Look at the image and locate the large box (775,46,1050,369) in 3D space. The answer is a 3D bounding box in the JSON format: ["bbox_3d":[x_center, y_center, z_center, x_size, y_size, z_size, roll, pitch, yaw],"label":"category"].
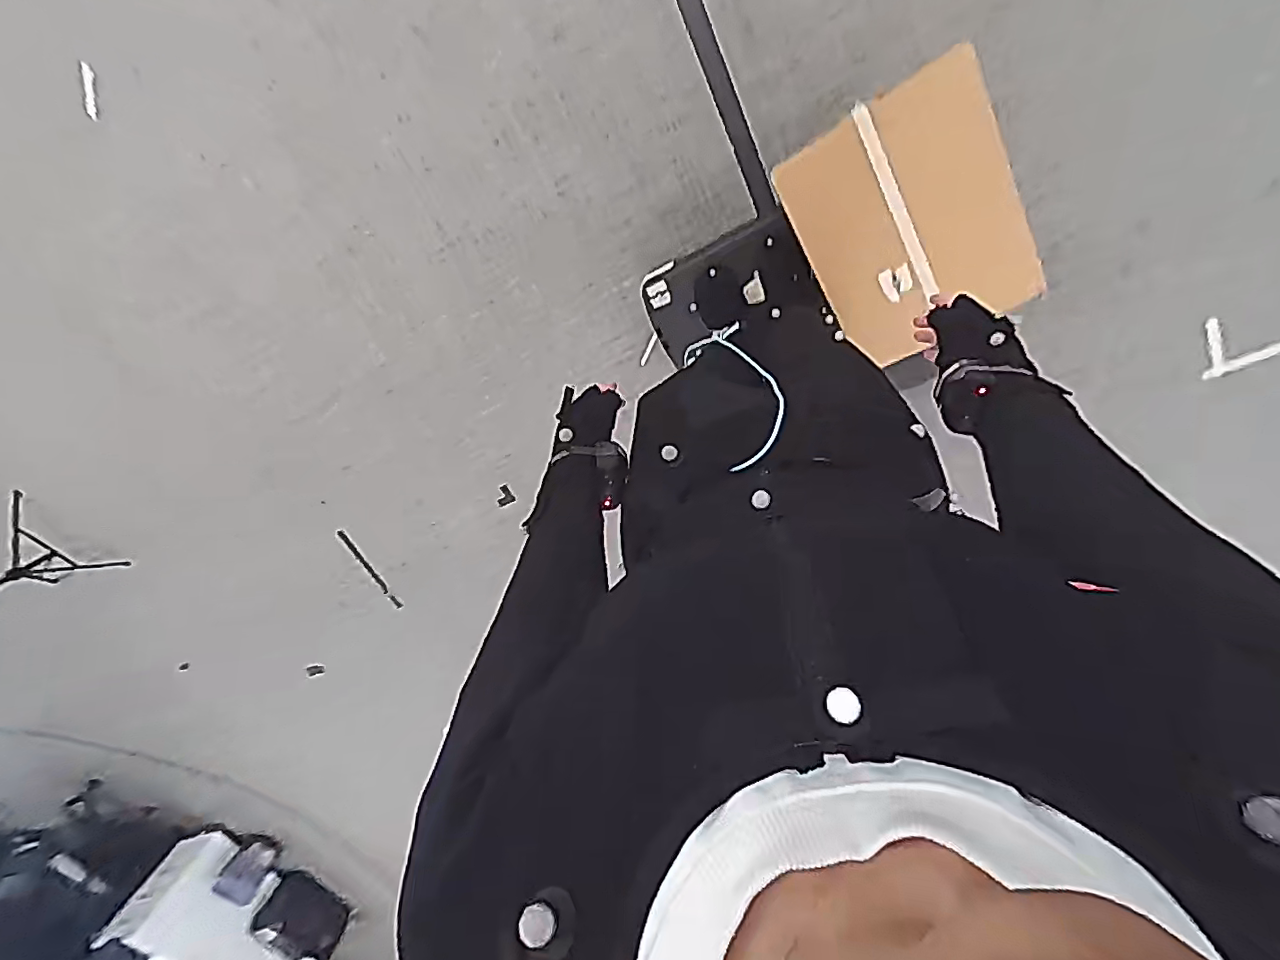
[{"bbox_3d":[0.488,-0.496,1.029,0.320,0.320,0.408,-24,113,28],"label":"large box"}]
